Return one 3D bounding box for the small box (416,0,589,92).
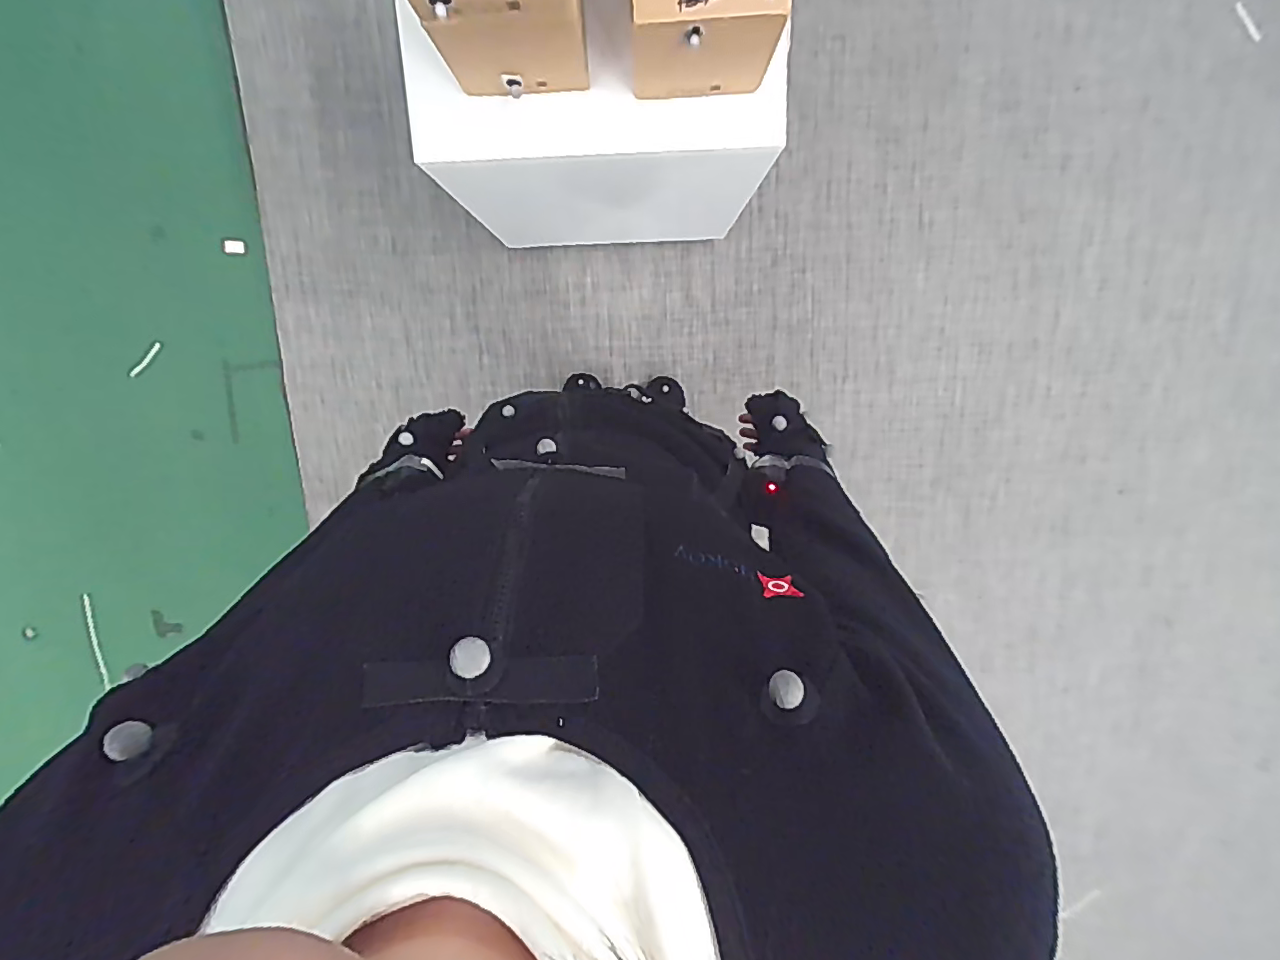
[{"bbox_3d":[-0.152,-0.582,0.613,0.168,0.176,0.179,-4,103,1],"label":"small box"}]

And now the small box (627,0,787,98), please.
[{"bbox_3d":[0.068,-0.582,0.626,0.168,0.176,0.179,-2,101,0],"label":"small box"}]

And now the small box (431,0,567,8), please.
[{"bbox_3d":[-0.151,-0.554,0.467,0.168,0.176,0.179,-1,100,1],"label":"small box"}]
